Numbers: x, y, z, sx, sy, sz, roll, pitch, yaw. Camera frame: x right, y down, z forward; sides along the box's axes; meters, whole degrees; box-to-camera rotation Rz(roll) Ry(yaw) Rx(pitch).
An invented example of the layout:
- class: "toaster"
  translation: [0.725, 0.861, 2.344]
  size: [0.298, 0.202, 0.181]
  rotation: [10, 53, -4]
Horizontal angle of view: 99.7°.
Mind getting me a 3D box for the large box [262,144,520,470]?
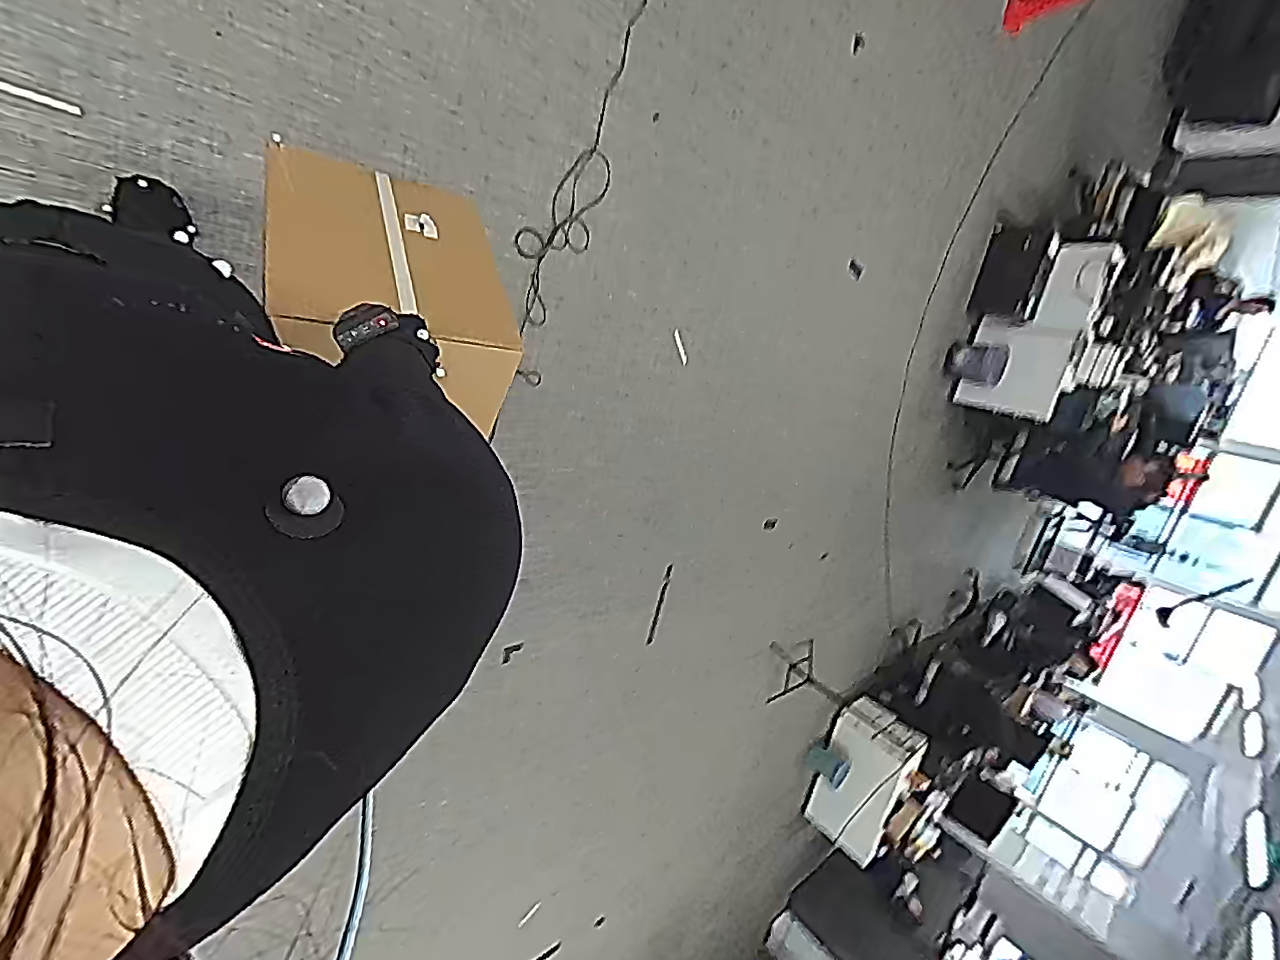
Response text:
- class: "large box"
  translation: [-0.437, -0.265, 0.906]
  size: [0.320, 0.408, 0.320]
  rotation: [-1, 143, -35]
